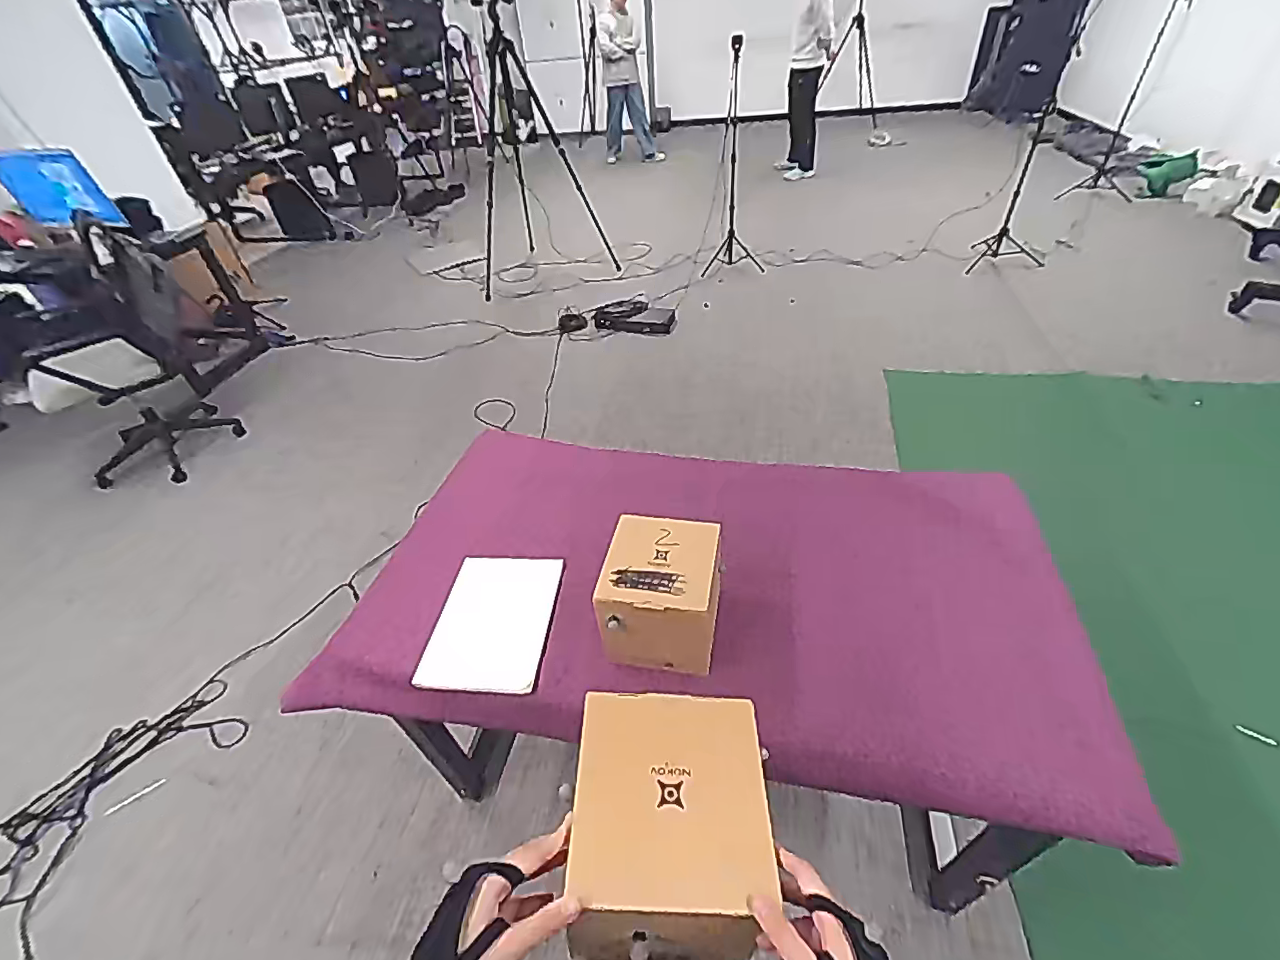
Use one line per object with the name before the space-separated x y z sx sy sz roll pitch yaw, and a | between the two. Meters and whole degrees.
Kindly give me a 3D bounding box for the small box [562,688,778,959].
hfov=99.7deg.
small box | 0.022 0.326 0.514 0.168 0.176 0.179 3 36 -1
